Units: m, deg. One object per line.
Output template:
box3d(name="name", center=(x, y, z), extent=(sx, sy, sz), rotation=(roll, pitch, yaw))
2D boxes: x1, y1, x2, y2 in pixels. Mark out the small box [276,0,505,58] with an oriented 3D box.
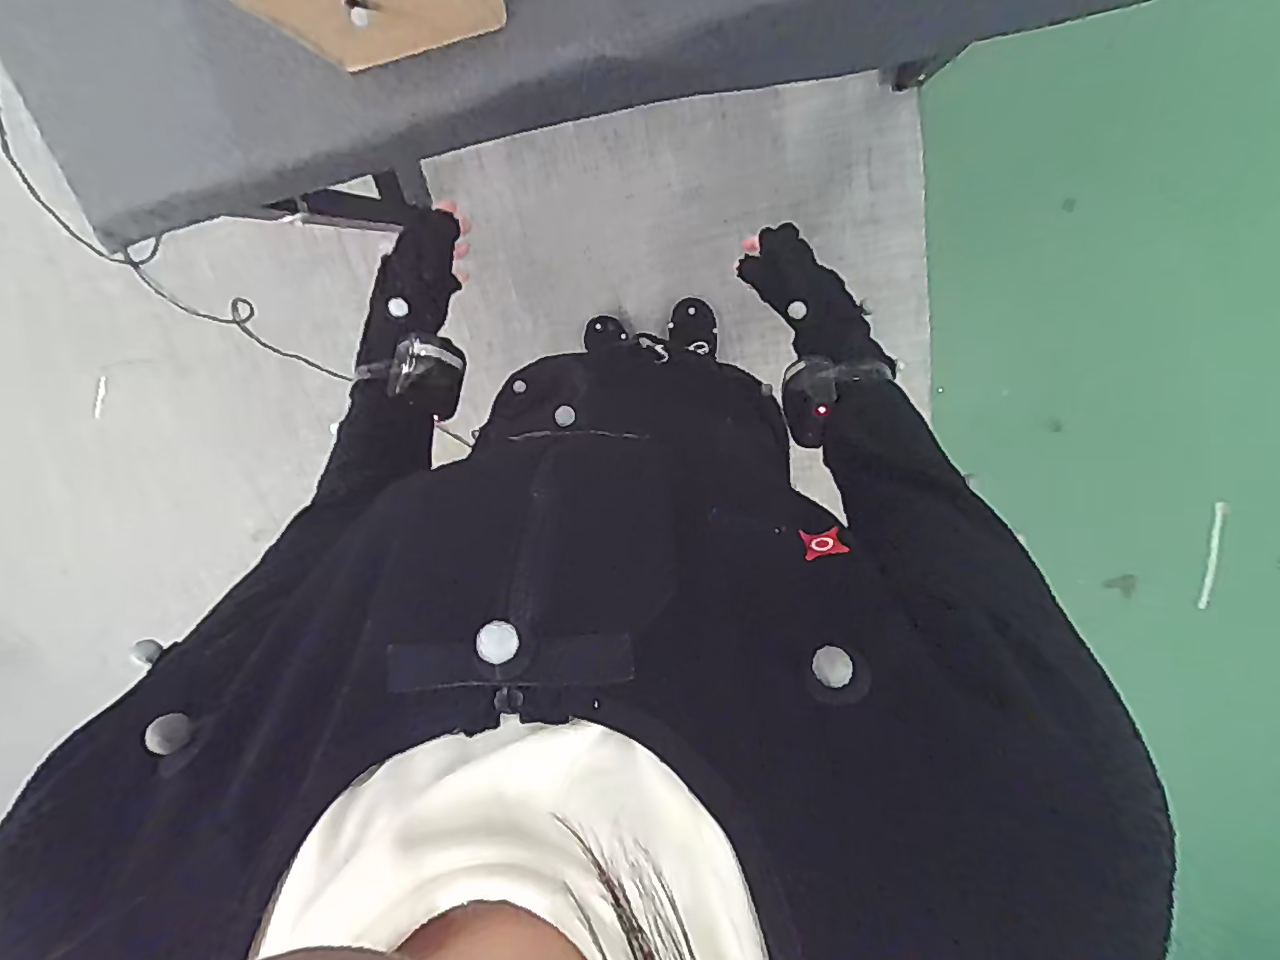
box3d(name="small box", center=(-0.235, -0.489, 0.445), extent=(0.179, 0.176, 0.168), rotation=(-8, 109, 9))
